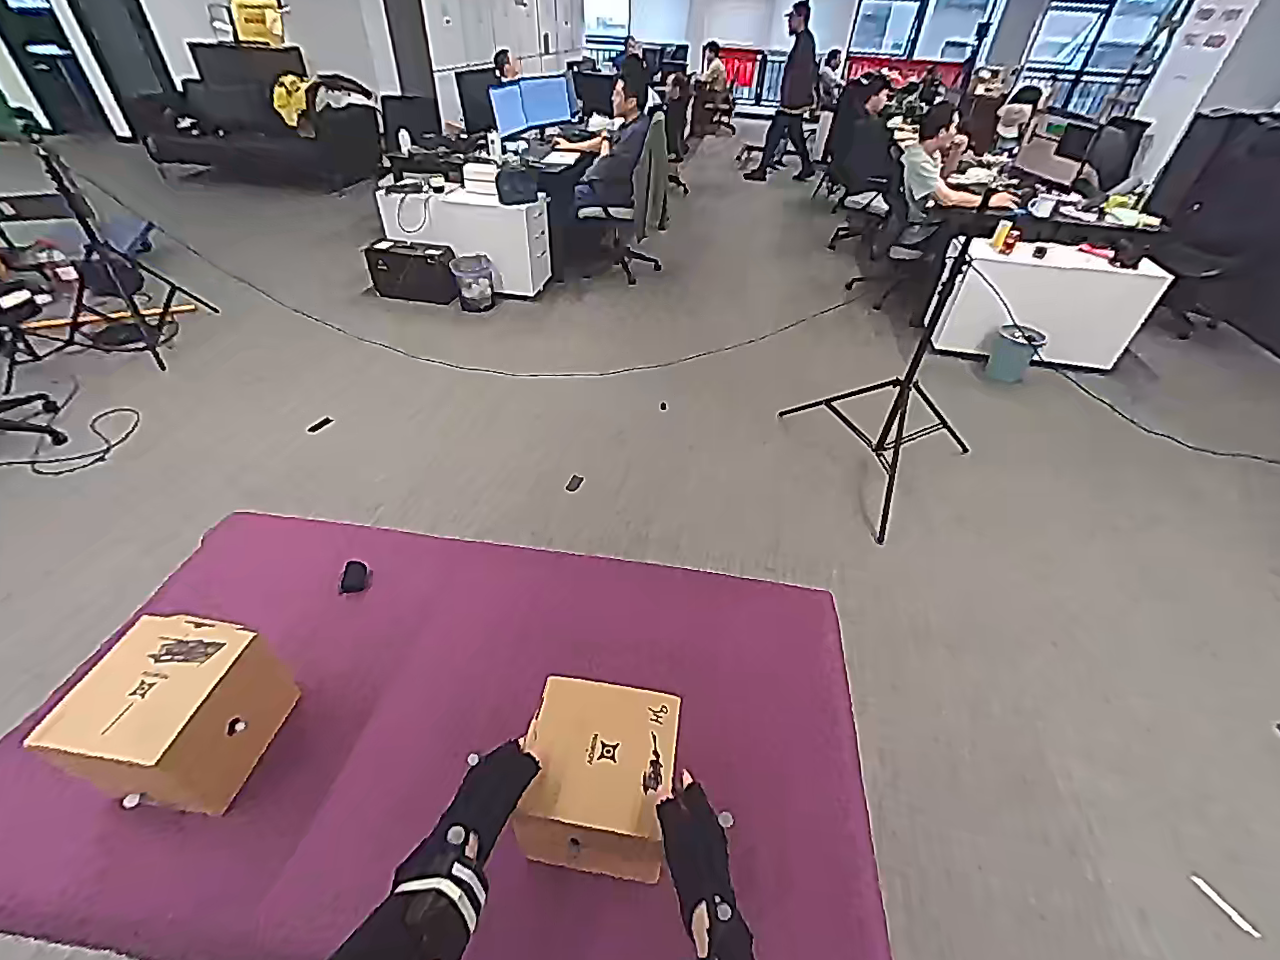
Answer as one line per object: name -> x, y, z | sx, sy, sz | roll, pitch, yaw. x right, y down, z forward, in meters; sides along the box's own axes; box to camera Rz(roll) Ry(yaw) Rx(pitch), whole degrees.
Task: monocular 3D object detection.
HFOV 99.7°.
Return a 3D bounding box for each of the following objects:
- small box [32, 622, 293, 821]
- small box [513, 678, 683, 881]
small box -> -0.606, 0.320, 0.724 | 0.168, 0.176, 0.179 | 7, 41, 4
small box -> -0.044, 0.381, 0.690 | 0.179, 0.176, 0.168 | 7, 40, 5
